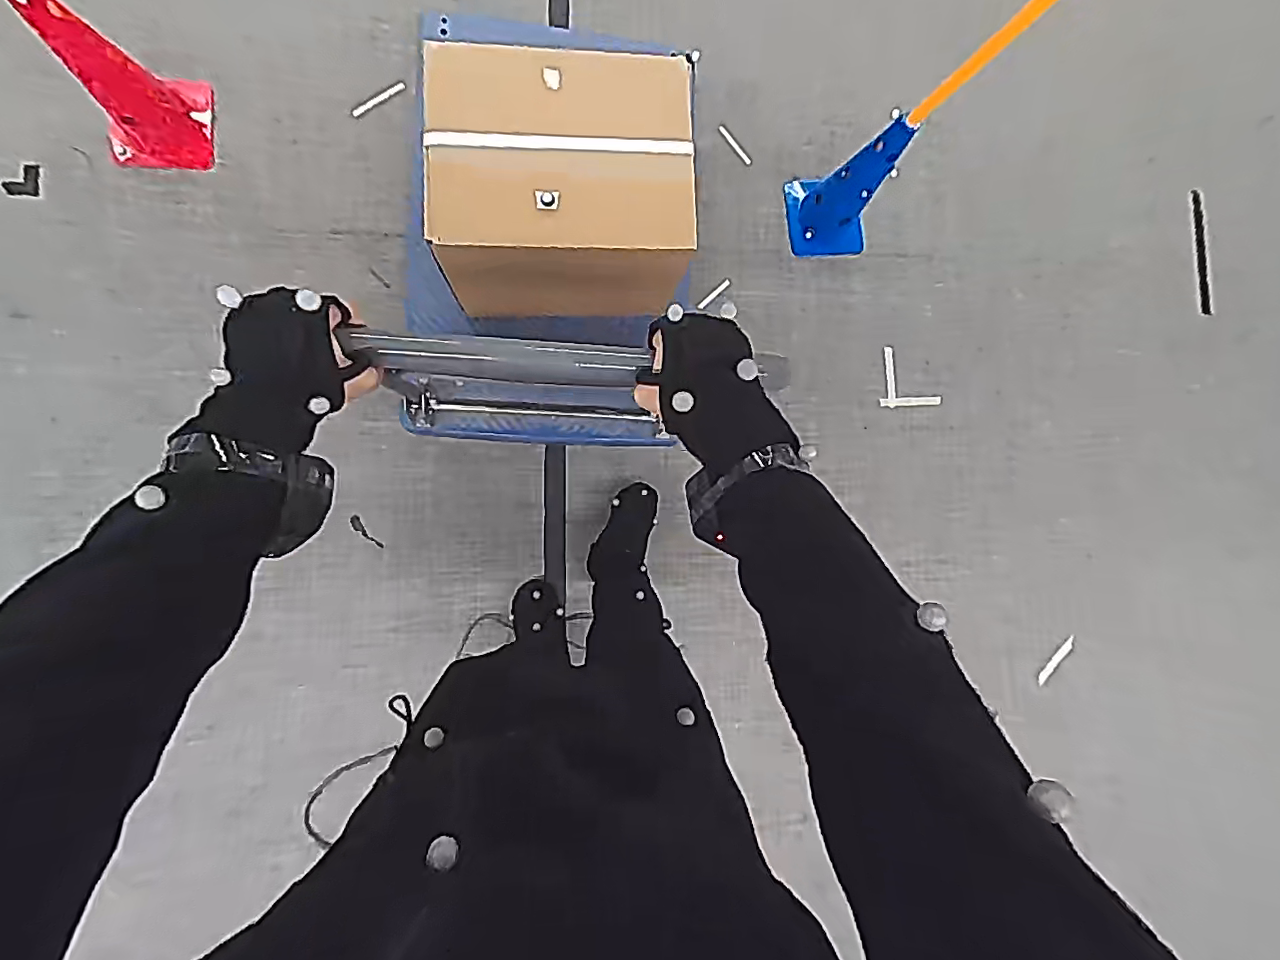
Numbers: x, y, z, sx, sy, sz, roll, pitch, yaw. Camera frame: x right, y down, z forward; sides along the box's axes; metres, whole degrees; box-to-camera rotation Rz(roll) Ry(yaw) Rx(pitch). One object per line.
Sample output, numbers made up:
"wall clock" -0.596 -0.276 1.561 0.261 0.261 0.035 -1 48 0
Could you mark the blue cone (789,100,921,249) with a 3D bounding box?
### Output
"blue cone" 0.504 -0.697 1.227 0.193 0.380 0.192 -4 87 -9
